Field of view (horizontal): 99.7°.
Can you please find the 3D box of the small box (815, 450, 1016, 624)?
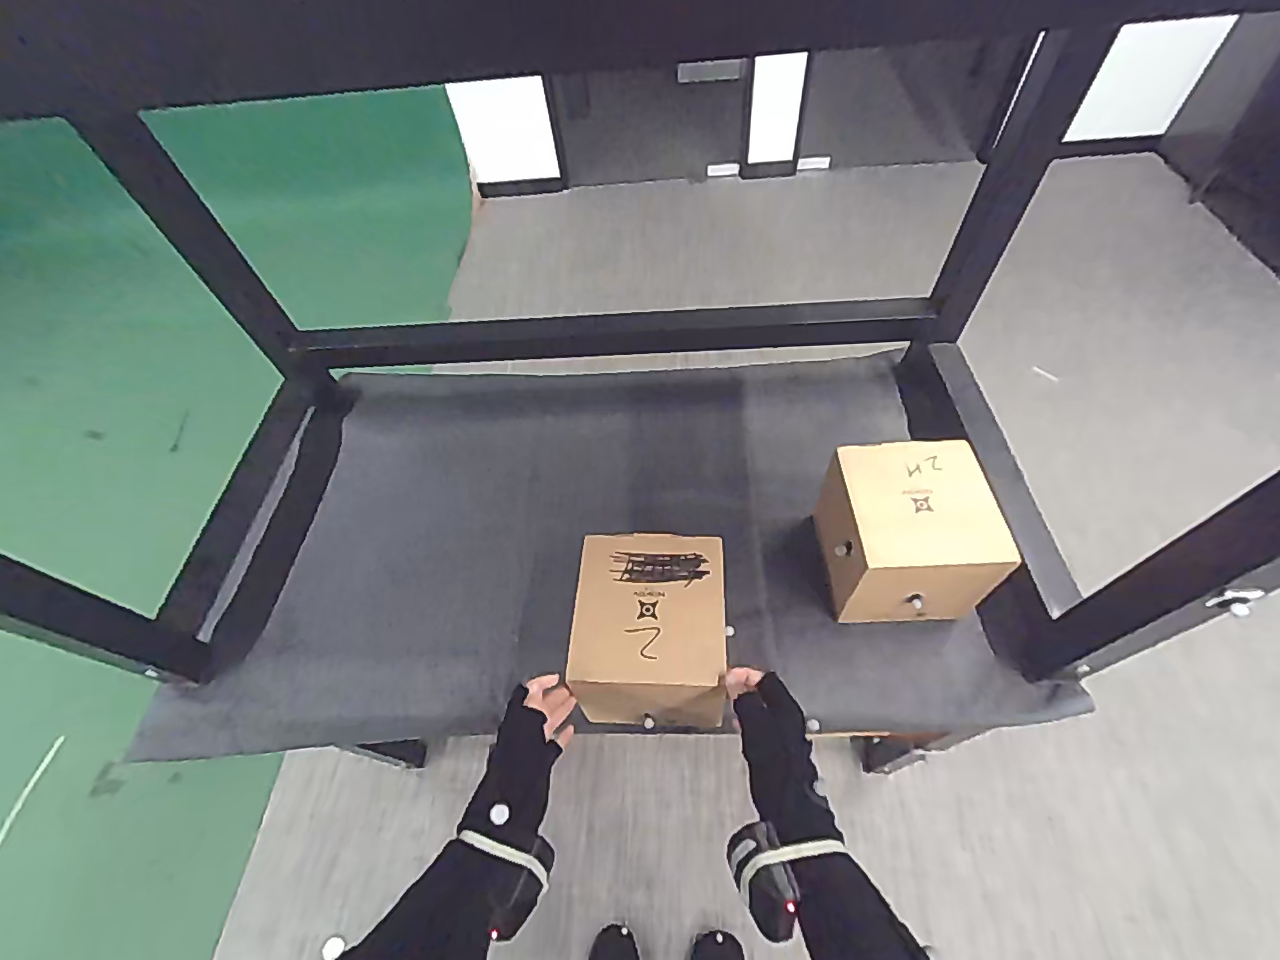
[{"bbox_3d":[0.339,0.082,0.709,0.168,0.176,0.179,-2,53,3],"label":"small box"}]
